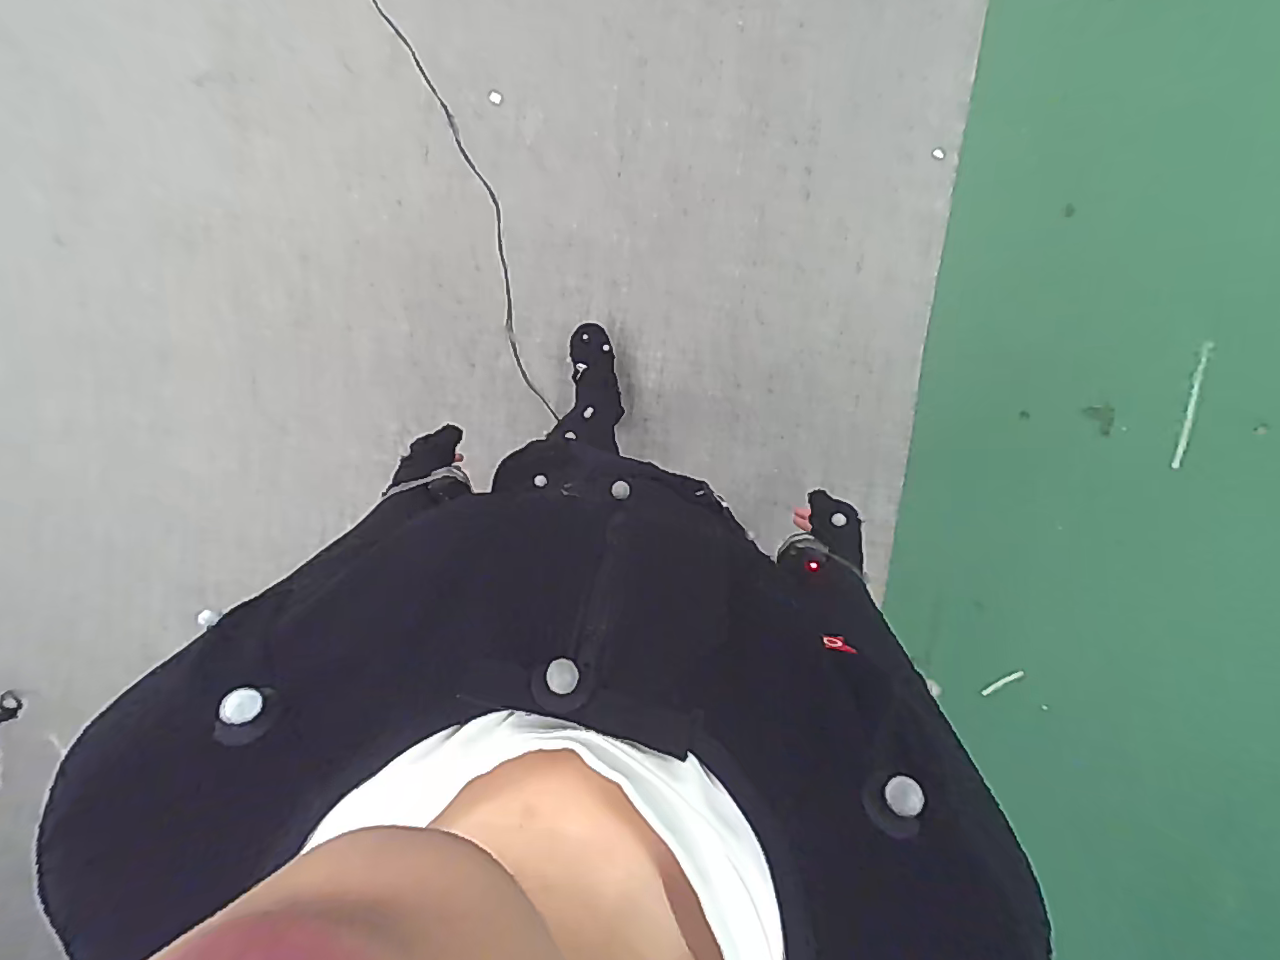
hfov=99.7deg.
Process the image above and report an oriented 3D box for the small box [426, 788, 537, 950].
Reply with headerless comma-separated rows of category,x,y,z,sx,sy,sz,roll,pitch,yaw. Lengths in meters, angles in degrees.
small box,-0.306,0.738,1.044,0.168,0.176,0.179,10,98,5
